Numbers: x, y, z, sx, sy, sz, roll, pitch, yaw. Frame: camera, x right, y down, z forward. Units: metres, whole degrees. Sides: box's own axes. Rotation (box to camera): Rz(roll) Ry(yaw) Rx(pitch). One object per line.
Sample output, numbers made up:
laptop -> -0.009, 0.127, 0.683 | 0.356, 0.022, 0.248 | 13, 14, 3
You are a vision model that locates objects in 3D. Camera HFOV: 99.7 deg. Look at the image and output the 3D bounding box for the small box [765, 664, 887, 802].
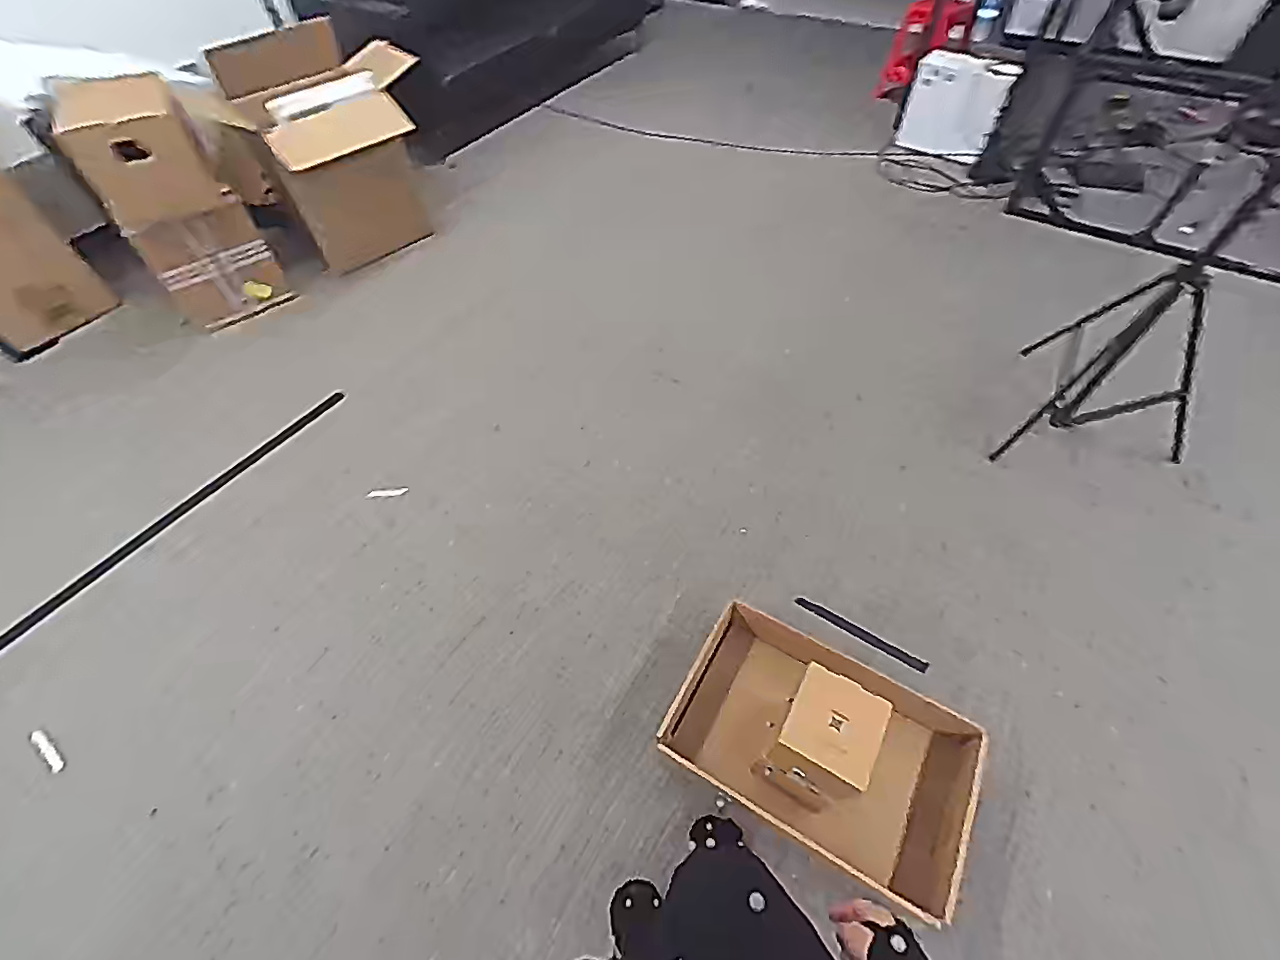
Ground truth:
small box -> 0.363, 0.508, 1.082 | 0.168, 0.176, 0.179 | 25, 58, 19
